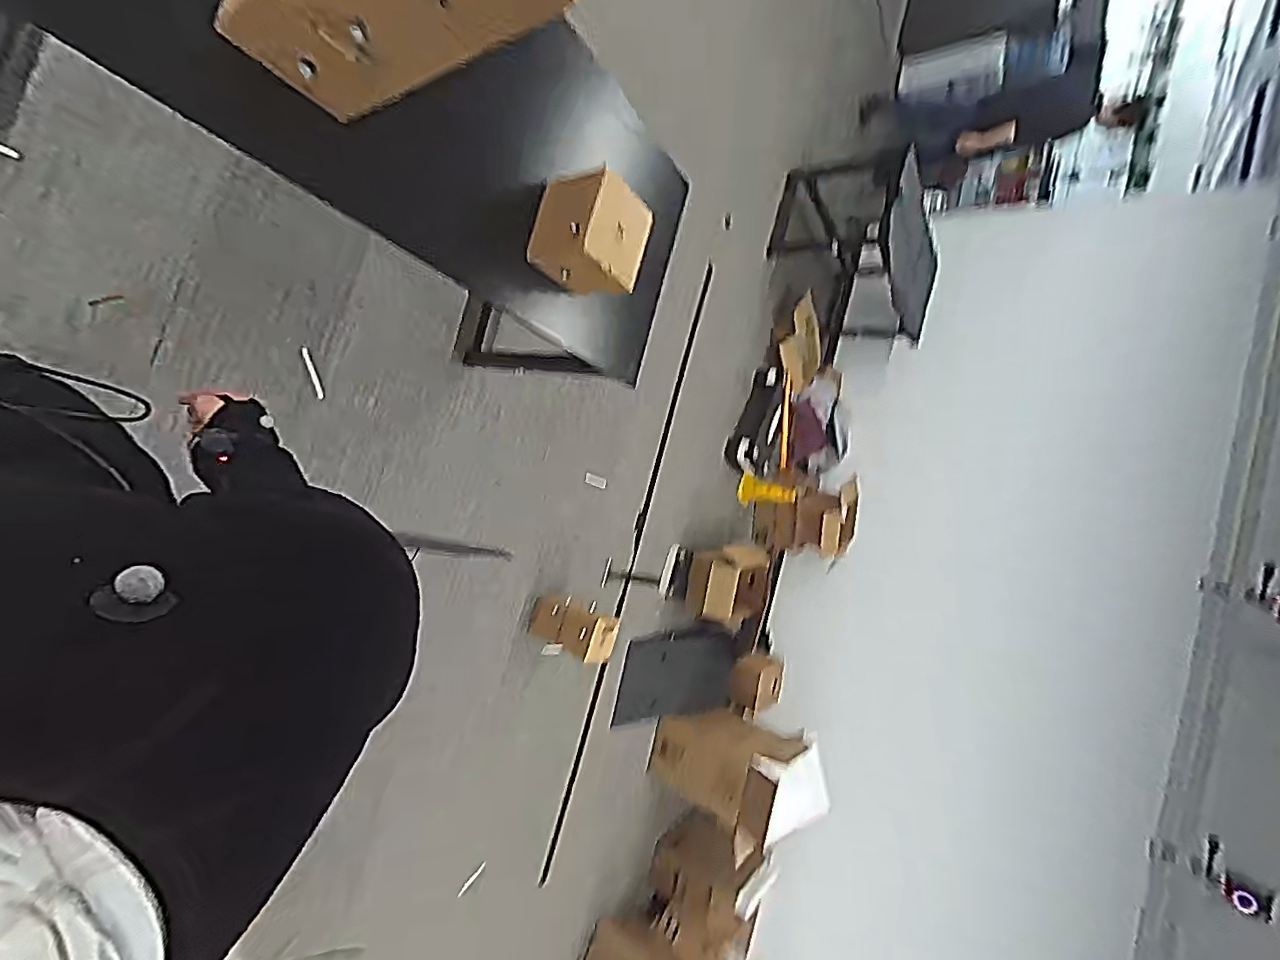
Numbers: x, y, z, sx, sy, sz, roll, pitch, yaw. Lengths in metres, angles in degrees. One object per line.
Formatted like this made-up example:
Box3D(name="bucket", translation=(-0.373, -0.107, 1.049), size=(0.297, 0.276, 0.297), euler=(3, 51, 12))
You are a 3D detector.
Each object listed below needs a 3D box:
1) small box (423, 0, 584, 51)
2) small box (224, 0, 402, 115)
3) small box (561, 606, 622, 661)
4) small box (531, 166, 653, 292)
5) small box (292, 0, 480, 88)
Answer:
Box3D(name="small box", translation=(-0.144, -0.566, 0.507), size=(0.168, 0.176, 0.179), euler=(18, 85, -52))
Box3D(name="small box", translation=(-0.403, -0.619, 0.701), size=(0.168, 0.176, 0.179), euler=(18, 86, -54))
Box3D(name="small box", translation=(-0.205, 0.637, 2.261), size=(0.168, 0.176, 0.179), euler=(21, 84, -53))
Box3D(name="small box", translation=(-0.102, -0.514, 1.132), size=(0.168, 0.176, 0.179), euler=(20, 84, -53))
Box3D(name="small box", translation=(-0.273, -0.594, 0.604), size=(0.168, 0.176, 0.179), euler=(19, 85, -53))
